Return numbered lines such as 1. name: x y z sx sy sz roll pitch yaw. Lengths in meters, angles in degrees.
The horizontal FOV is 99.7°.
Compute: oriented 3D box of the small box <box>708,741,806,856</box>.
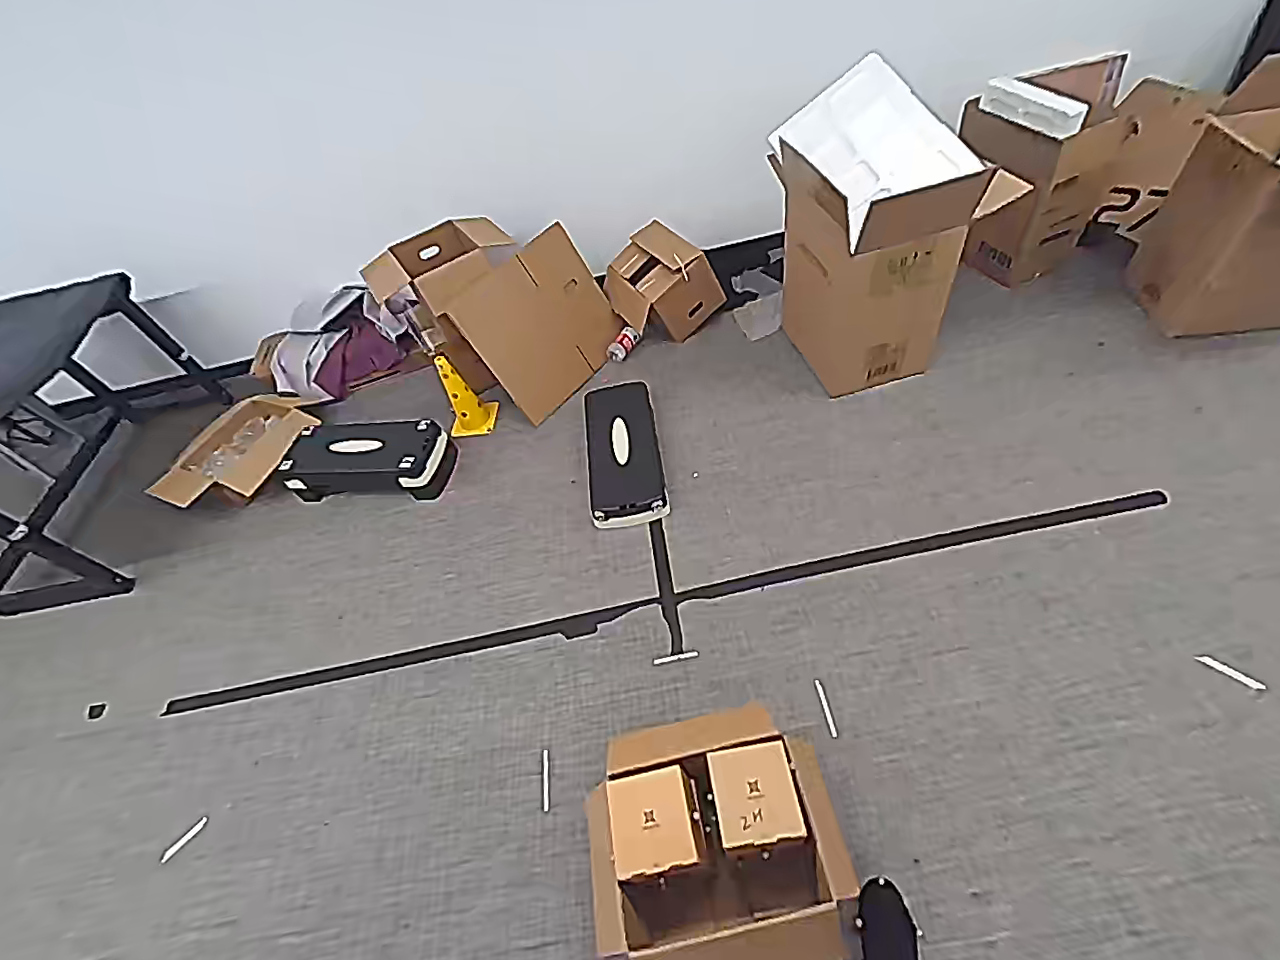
1. small box: 0.244 0.679 1.151 0.168 0.176 0.179 -11 50 4
